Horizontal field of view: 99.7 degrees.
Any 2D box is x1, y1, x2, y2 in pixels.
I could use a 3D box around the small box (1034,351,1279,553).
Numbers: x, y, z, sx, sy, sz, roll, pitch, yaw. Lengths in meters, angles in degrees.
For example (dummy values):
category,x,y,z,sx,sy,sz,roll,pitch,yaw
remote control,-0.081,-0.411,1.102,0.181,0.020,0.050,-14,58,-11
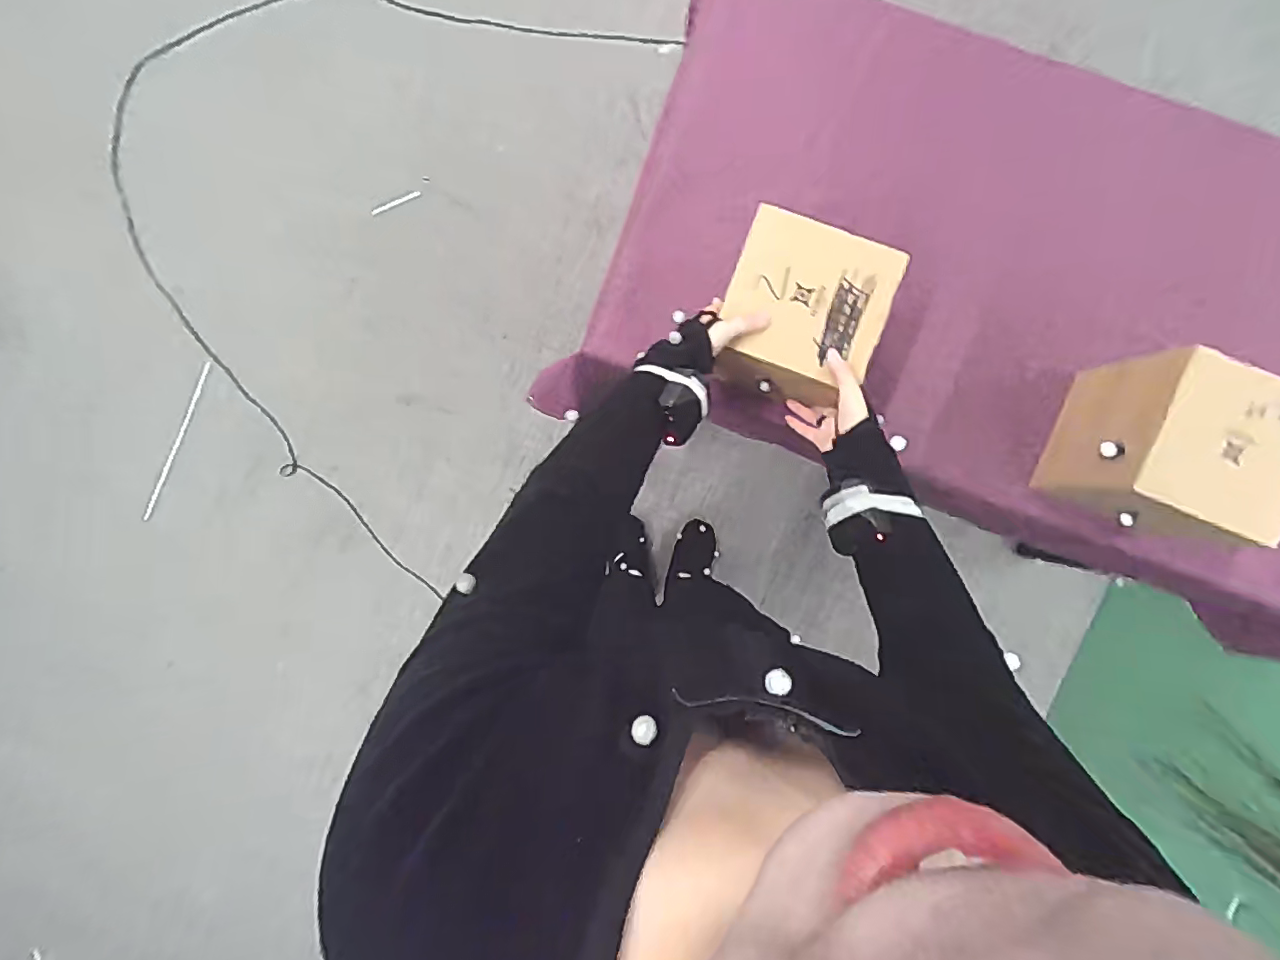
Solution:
category,x,y,z,sx,sy,sz,roll,pitch,yaw
small box,0.641,-0.030,0.669,0.168,0.176,0.179,24,90,1
